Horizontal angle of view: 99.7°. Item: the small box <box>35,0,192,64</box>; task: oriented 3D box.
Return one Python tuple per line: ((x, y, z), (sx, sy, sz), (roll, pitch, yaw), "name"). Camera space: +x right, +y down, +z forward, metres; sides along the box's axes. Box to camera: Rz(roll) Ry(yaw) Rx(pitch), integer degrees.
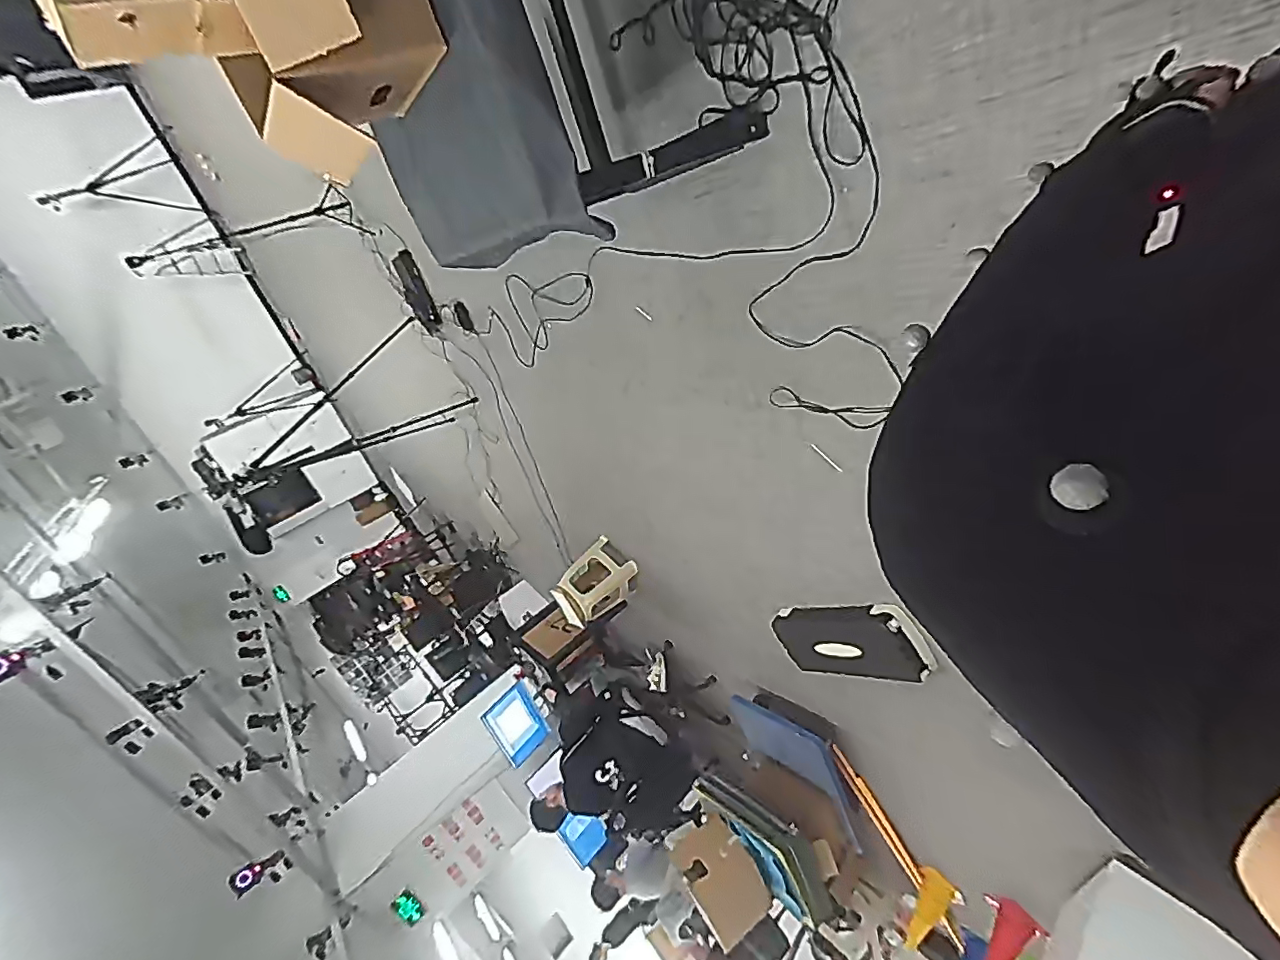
((-0.797, -0.752, 0.788), (0.179, 0.176, 0.168), (9, 127, 53), "small box")
